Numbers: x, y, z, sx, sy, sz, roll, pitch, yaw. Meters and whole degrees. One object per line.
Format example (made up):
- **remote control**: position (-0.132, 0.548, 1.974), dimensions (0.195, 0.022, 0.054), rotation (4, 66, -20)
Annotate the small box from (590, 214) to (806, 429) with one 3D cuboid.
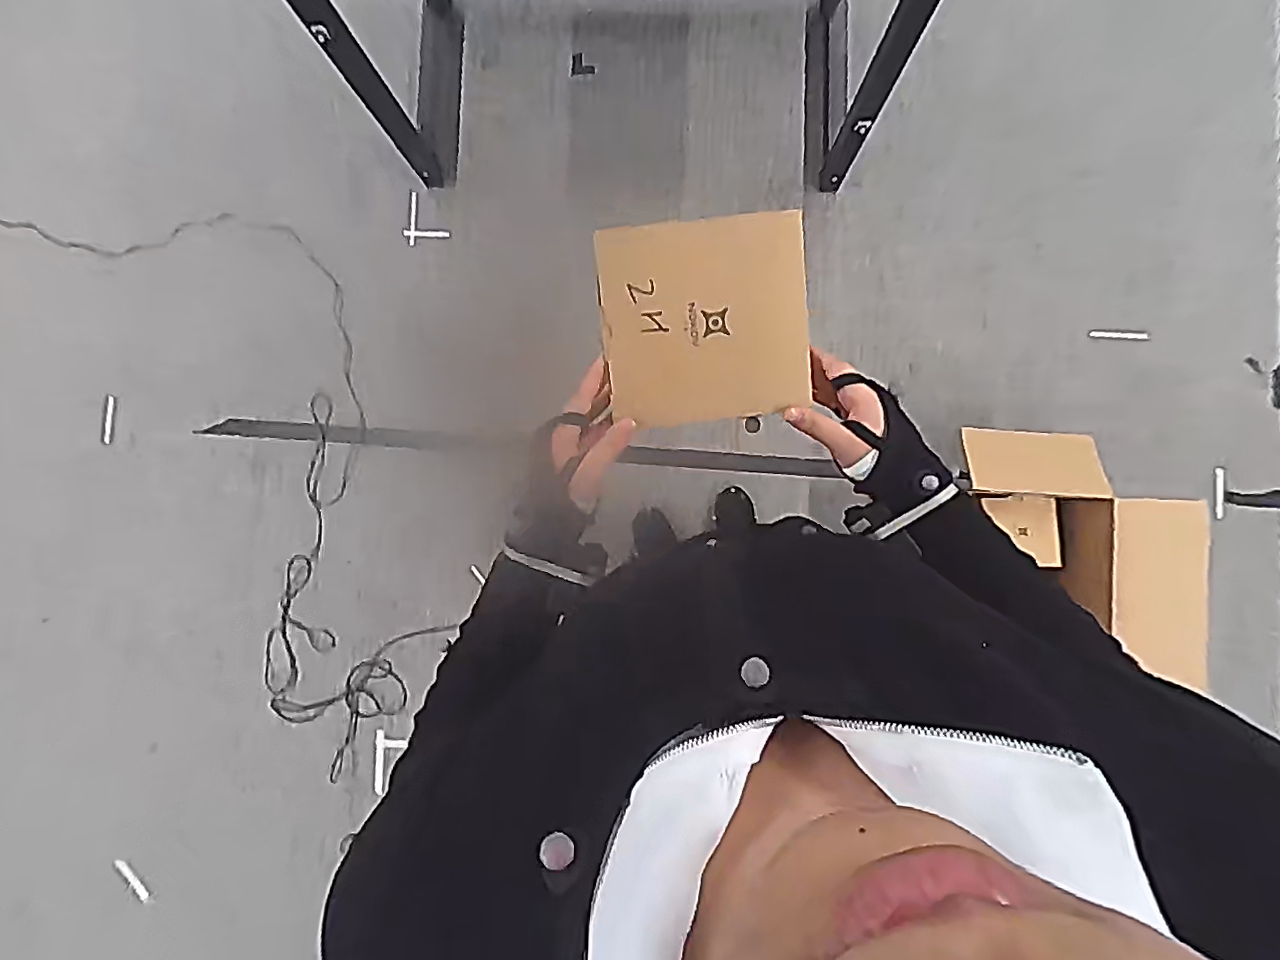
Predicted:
- **small box**: position (0.050, -0.146, 0.540), dimensions (0.179, 0.176, 0.168), rotation (-7, 98, 1)
